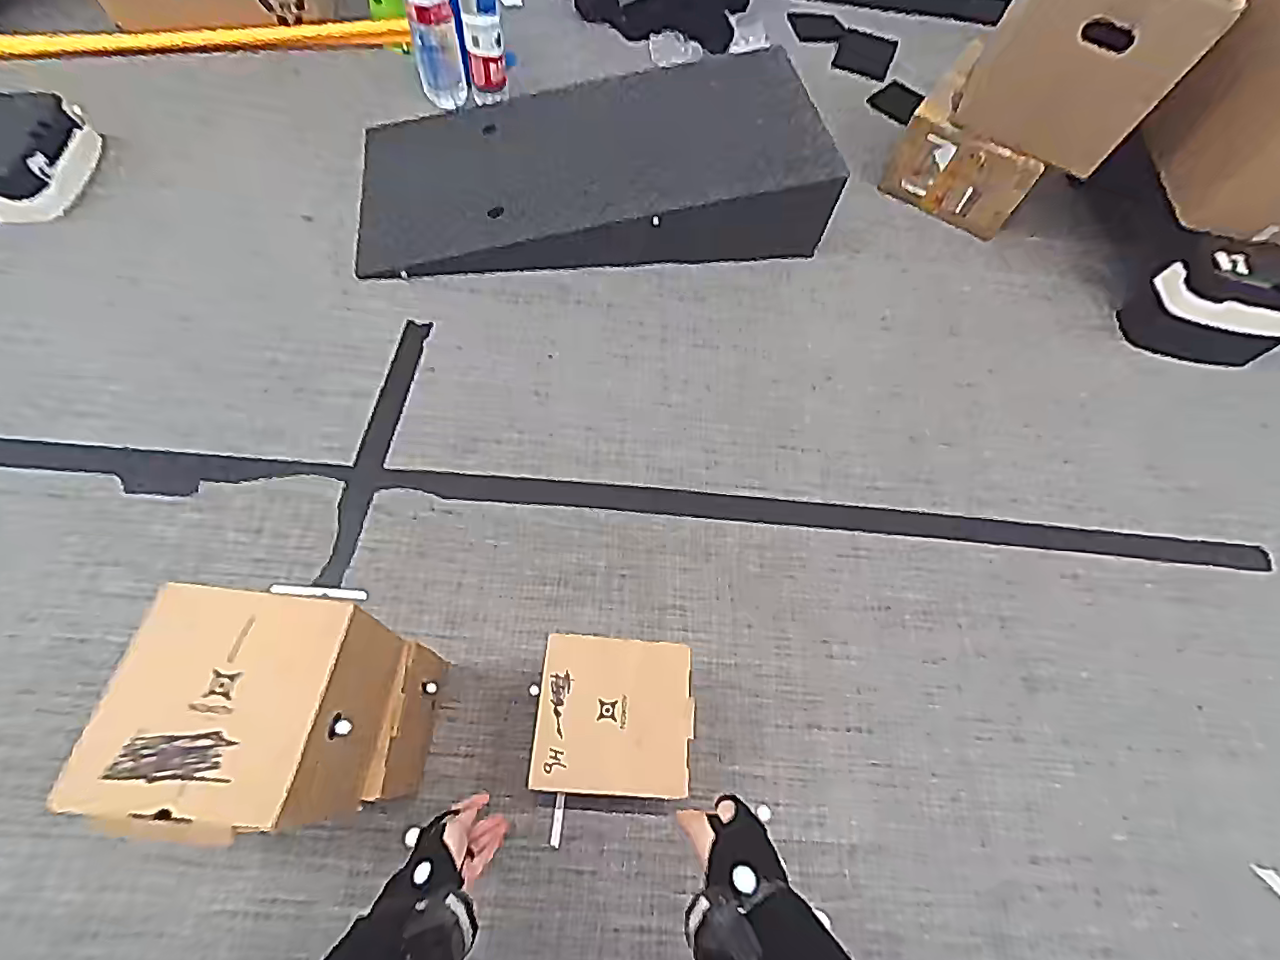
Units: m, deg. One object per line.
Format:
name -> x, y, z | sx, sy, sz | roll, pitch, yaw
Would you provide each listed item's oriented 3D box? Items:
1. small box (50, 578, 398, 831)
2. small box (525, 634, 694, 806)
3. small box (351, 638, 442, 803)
small box -> -0.350, 0.210, 0.506 | 0.168, 0.176, 0.179 | 8, 61, -3
small box -> -0.037, 0.300, 0.677 | 0.179, 0.176, 0.168 | 7, 62, -3
small box -> -0.356, 0.283, 0.652 | 0.179, 0.176, 0.168 | 5, 62, -3
